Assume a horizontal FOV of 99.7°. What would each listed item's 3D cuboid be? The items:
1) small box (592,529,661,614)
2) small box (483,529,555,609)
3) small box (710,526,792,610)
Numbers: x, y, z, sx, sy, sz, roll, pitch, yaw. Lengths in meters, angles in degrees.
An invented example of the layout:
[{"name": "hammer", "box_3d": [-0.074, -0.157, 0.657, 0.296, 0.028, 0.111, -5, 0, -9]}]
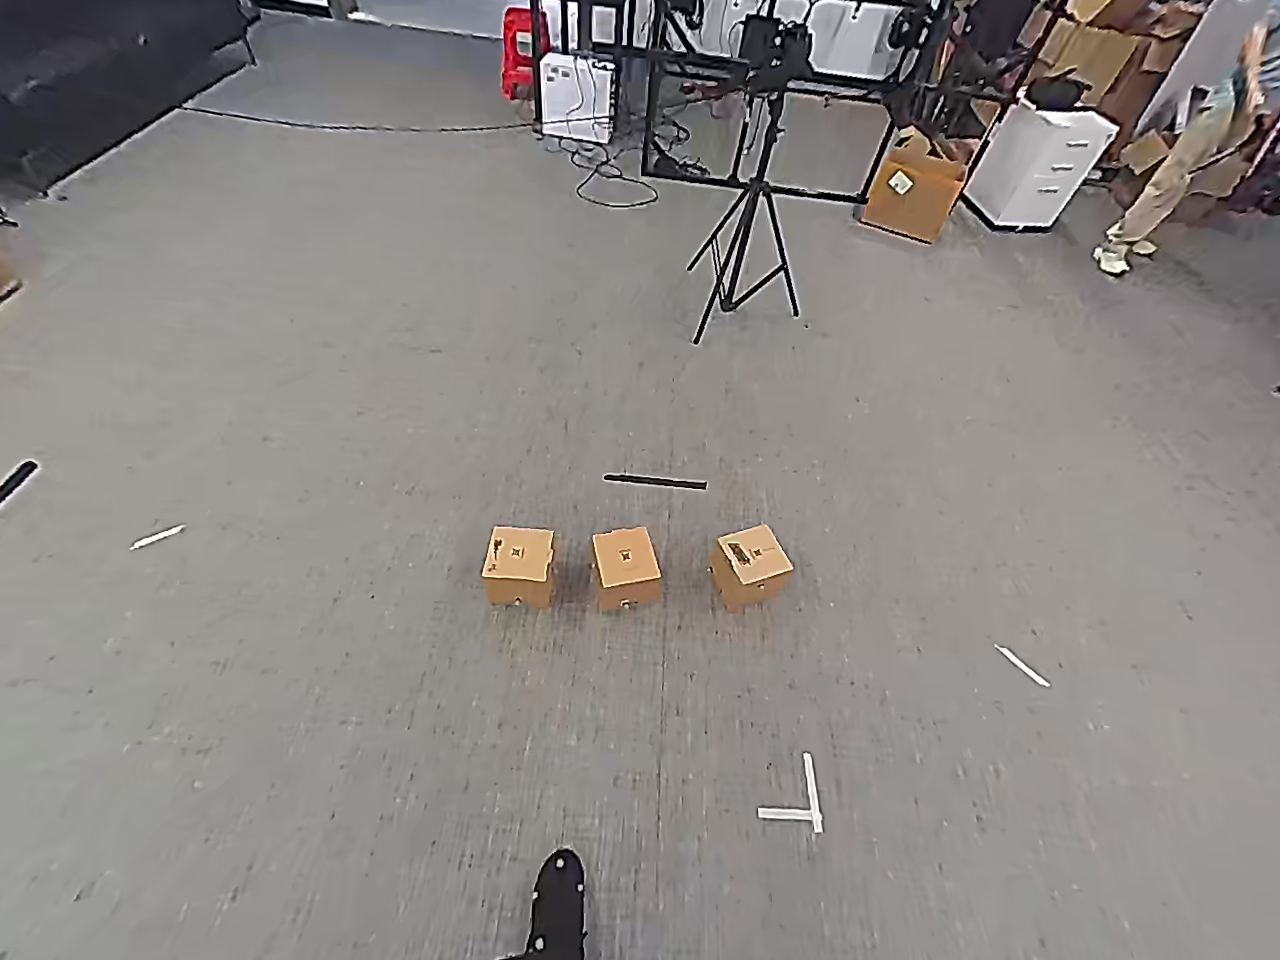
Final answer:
[{"name": "small box", "box_3d": [-0.046, 0.272, 1.597, 0.168, 0.176, 0.179, -9, 54, -12]}, {"name": "small box", "box_3d": [-0.343, 0.264, 1.570, 0.179, 0.176, 0.168, 5, 51, -3]}, {"name": "small box", "box_3d": [0.325, 0.270, 1.639, 0.179, 0.176, 0.168, -13, 55, -18]}]
